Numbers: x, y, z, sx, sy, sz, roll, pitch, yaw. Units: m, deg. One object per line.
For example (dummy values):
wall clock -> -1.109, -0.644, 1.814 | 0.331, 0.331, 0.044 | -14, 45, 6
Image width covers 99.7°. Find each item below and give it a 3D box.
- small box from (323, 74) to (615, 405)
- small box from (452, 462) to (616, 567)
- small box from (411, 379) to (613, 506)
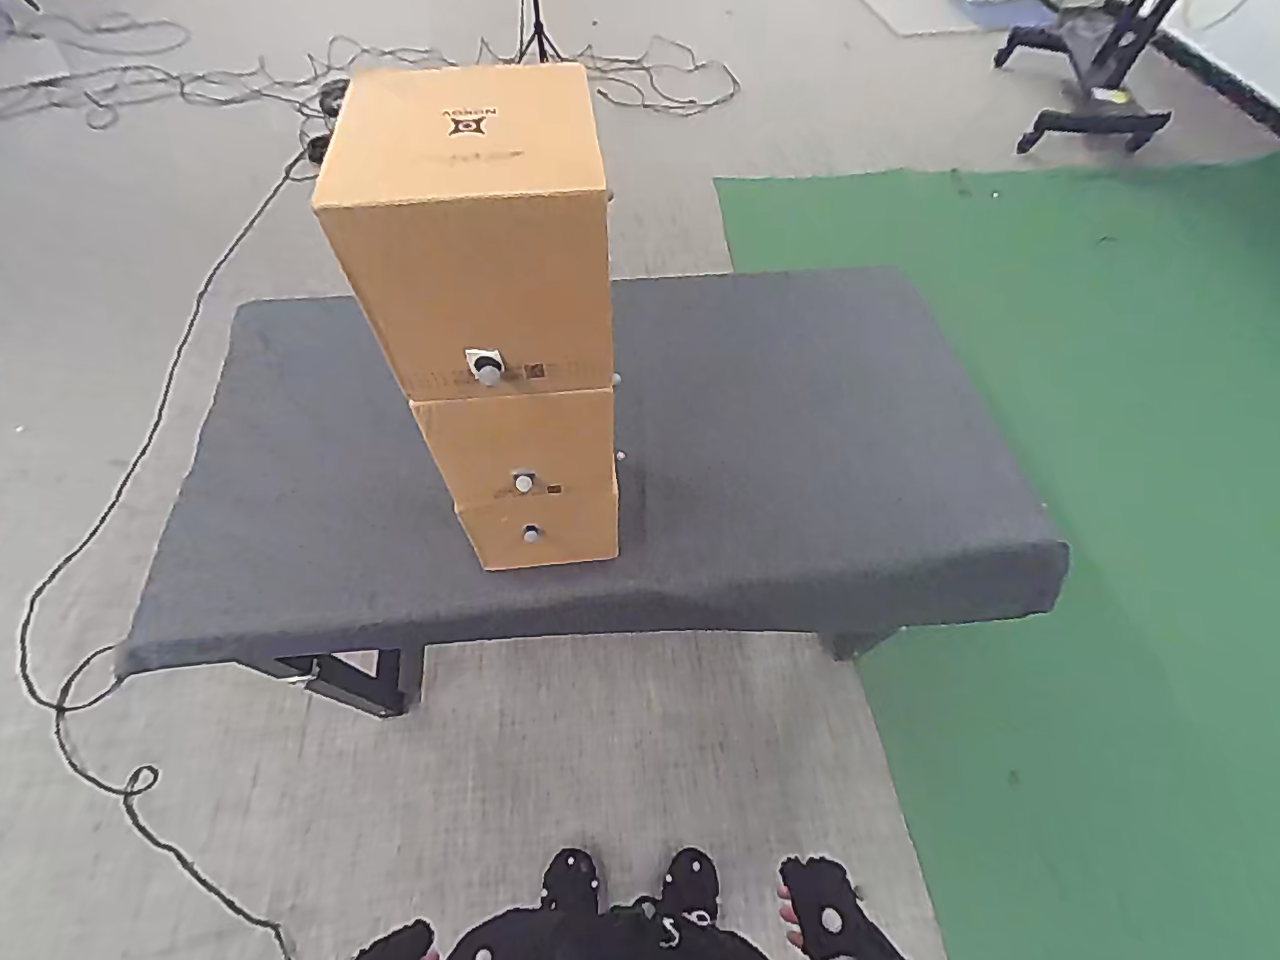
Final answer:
small box -> -0.109, -0.181, 0.420 | 0.168, 0.176, 0.179 | -6, 58, -5
small box -> -0.124, 0.001, 0.690 | 0.179, 0.176, 0.168 | -4, 57, -5
small box -> -0.117, -0.092, 0.554 | 0.168, 0.176, 0.179 | -4, 58, -5
